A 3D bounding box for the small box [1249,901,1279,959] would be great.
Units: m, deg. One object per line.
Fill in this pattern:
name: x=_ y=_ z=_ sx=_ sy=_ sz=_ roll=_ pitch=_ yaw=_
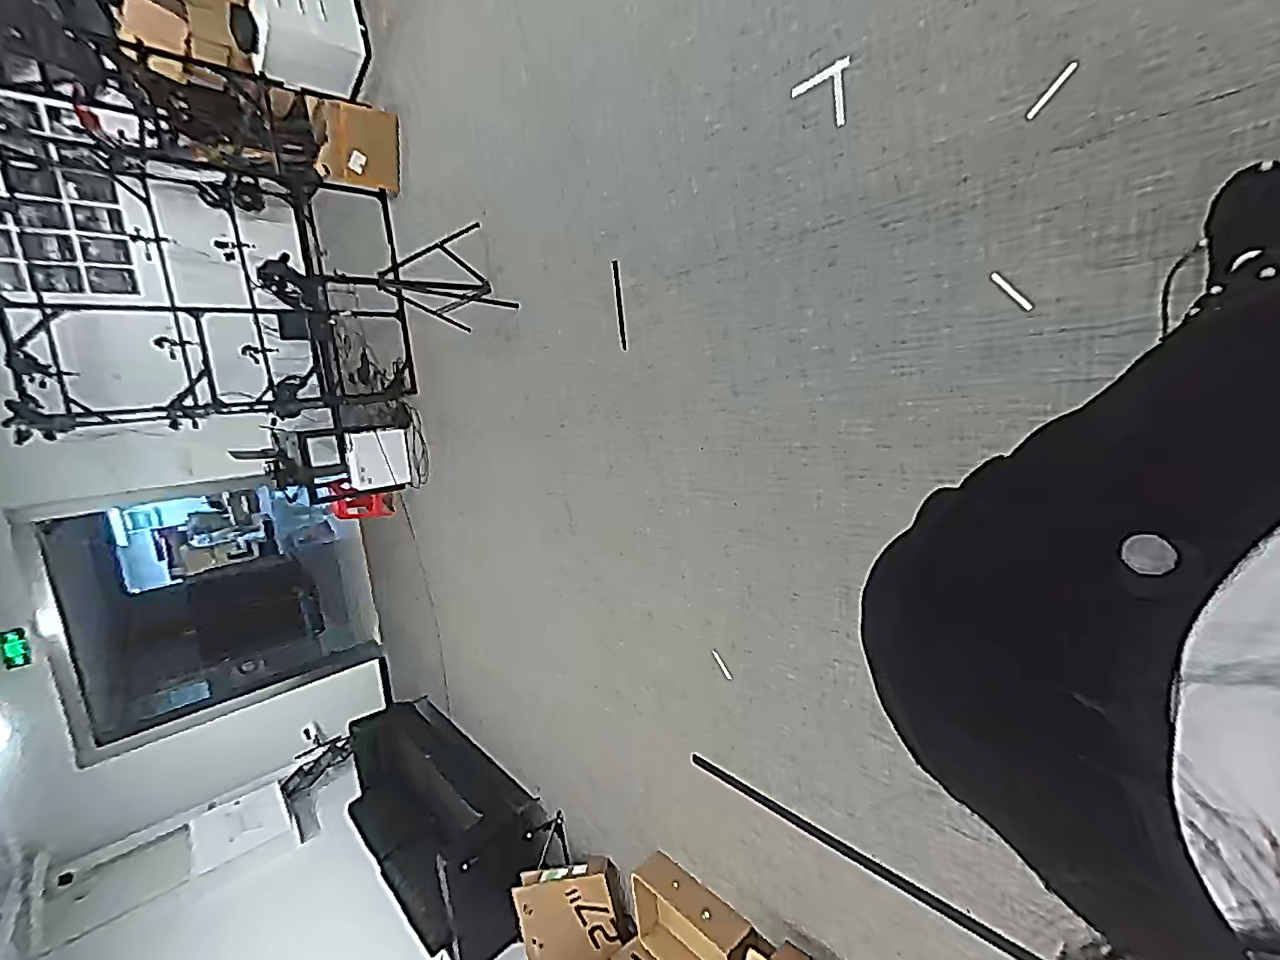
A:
small box: x=1.275 y=0.964 z=1.017 sx=0.168 sy=0.176 sz=0.179 roll=5 pitch=103 yaw=48
